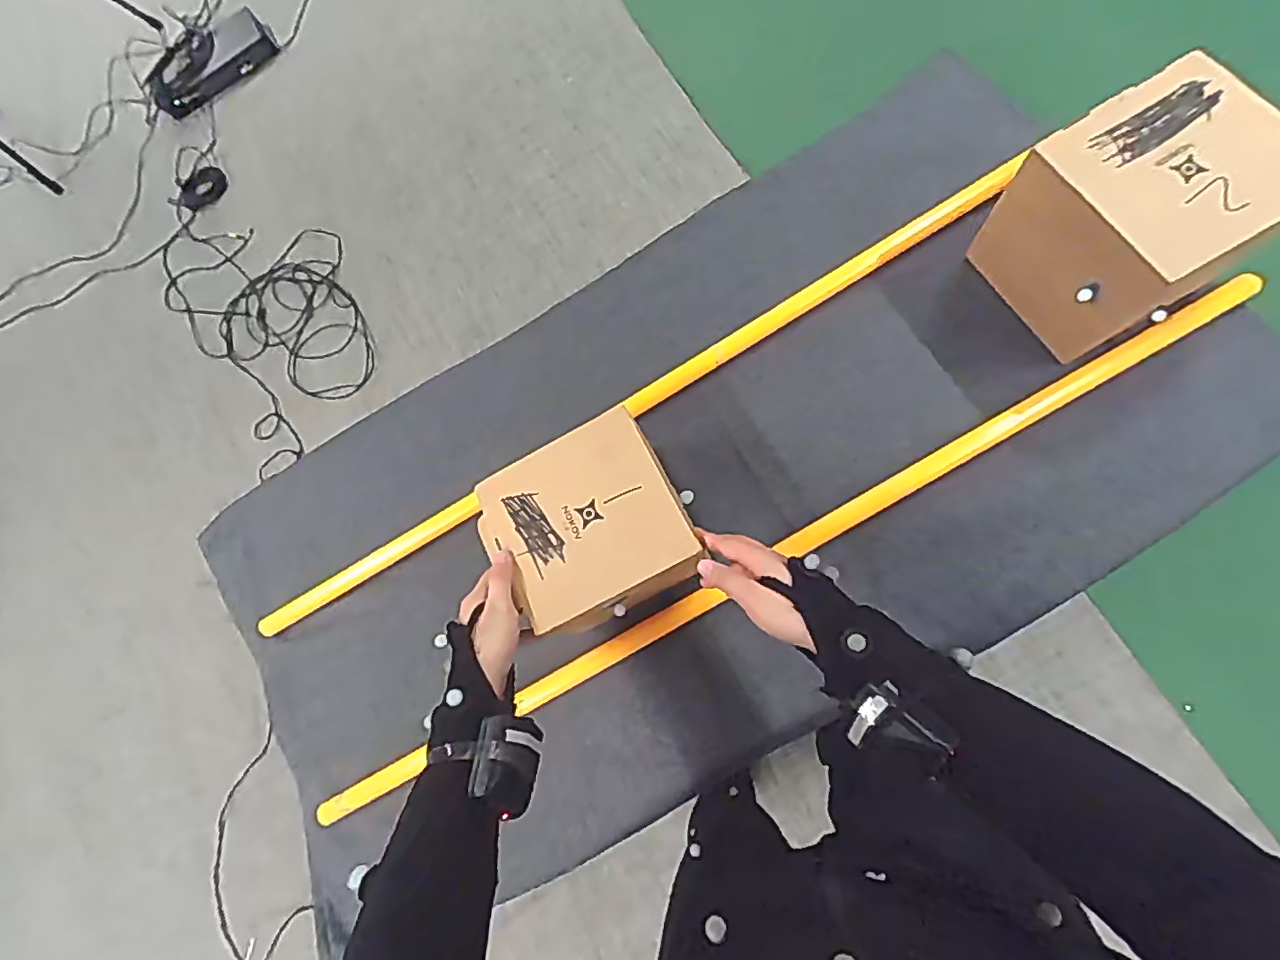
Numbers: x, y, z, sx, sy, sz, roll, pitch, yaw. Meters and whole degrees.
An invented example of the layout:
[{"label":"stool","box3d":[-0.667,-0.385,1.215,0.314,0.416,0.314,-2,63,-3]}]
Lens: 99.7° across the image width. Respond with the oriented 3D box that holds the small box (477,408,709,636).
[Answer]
[{"label":"small box","box3d":[-0.040,0.055,0.588,0.179,0.176,0.168,-28,74,4]}]
